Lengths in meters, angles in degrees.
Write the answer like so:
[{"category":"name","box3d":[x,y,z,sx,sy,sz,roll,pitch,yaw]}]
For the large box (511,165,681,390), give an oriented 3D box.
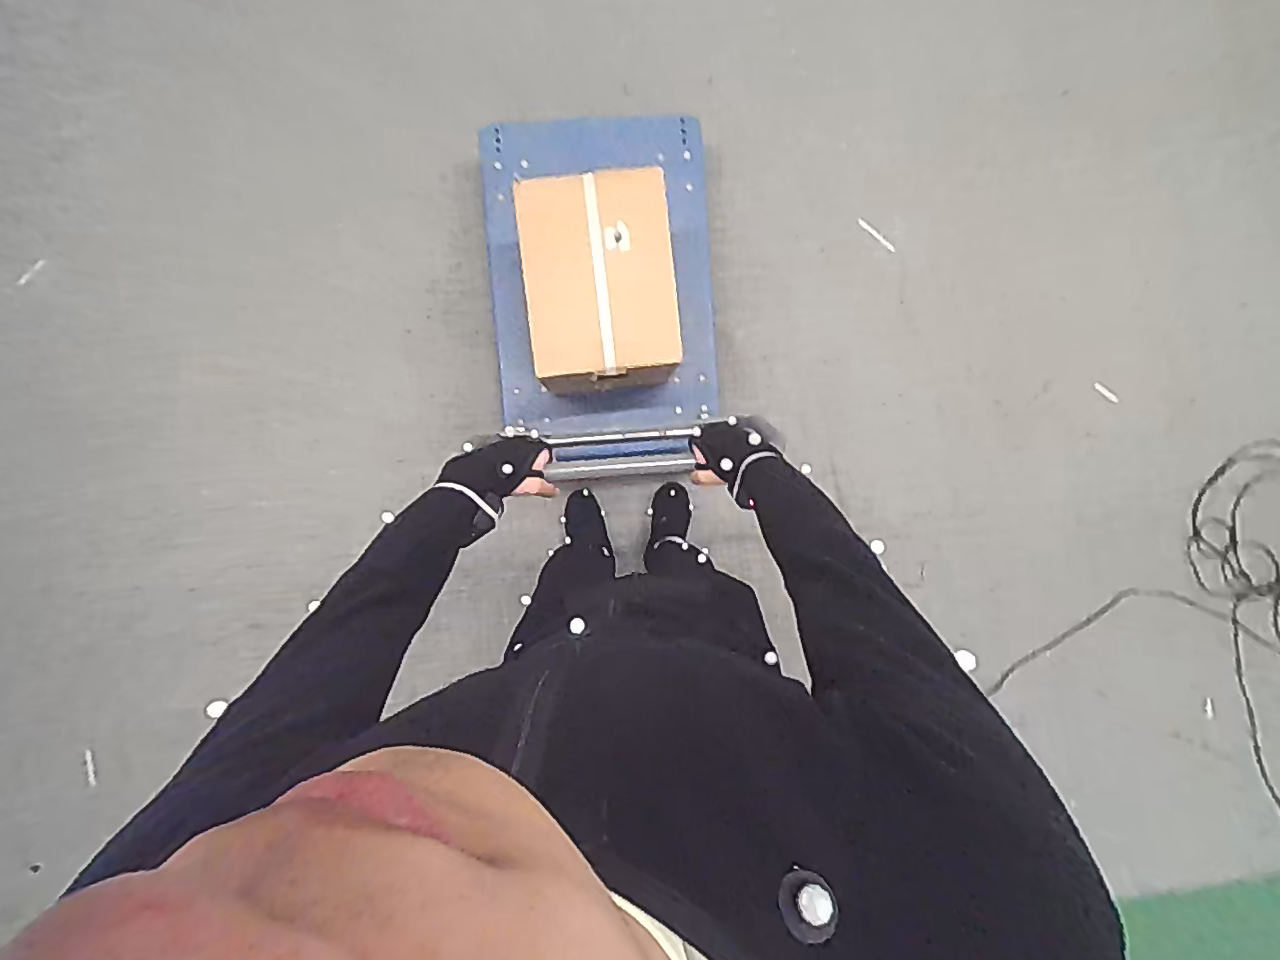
[{"category":"large box","box3d":[-0.095,-0.445,1.274,0.320,0.320,0.408,-7,93,-3]}]
